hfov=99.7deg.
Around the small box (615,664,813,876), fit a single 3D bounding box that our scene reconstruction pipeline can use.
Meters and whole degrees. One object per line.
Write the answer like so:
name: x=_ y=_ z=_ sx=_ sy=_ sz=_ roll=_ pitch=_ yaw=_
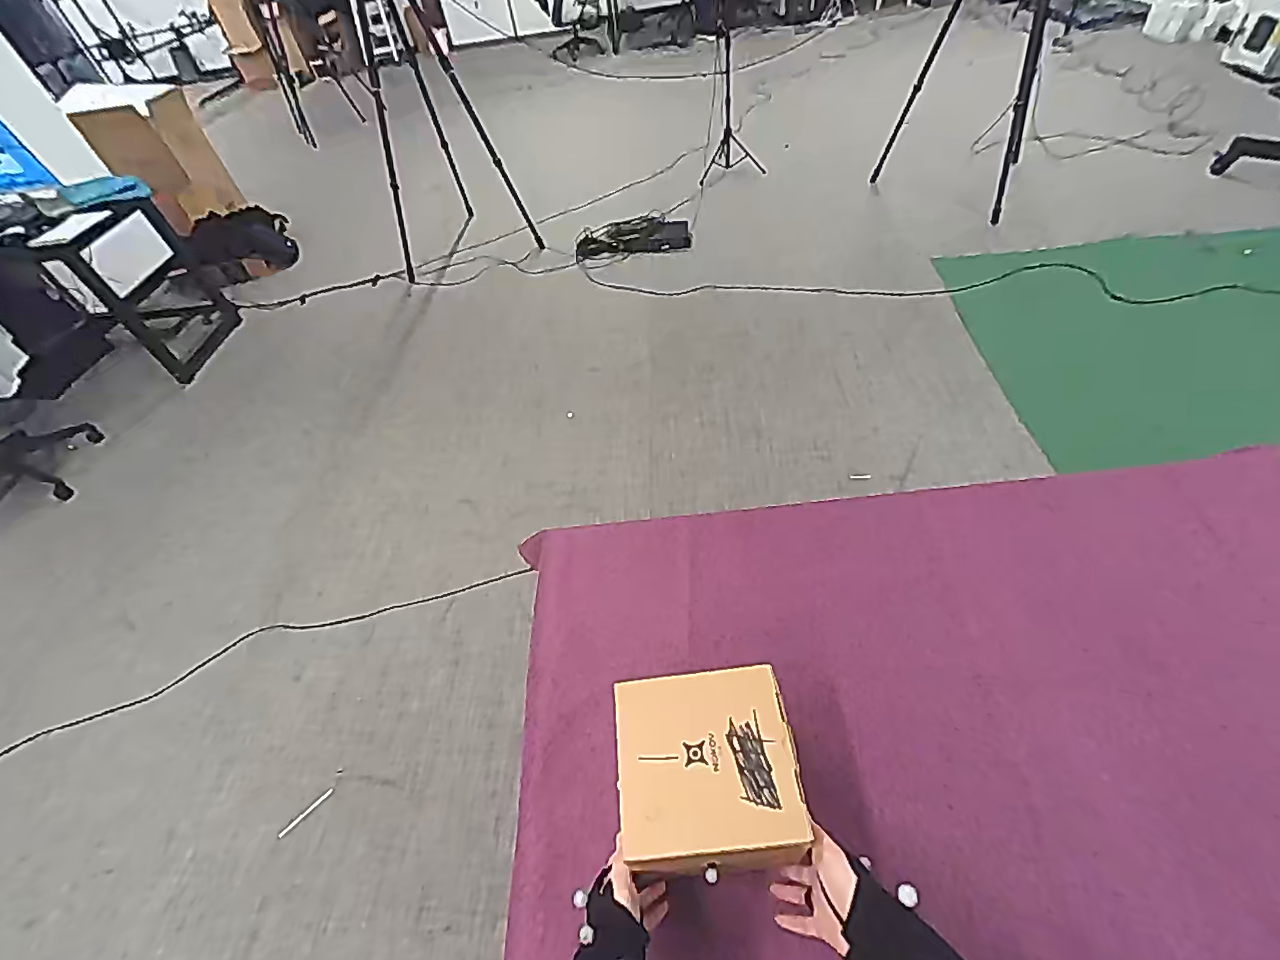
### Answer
small box: x=0.074 y=0.323 z=0.596 sx=0.179 sy=0.176 sz=0.168 roll=-9 pitch=48 yaw=3
